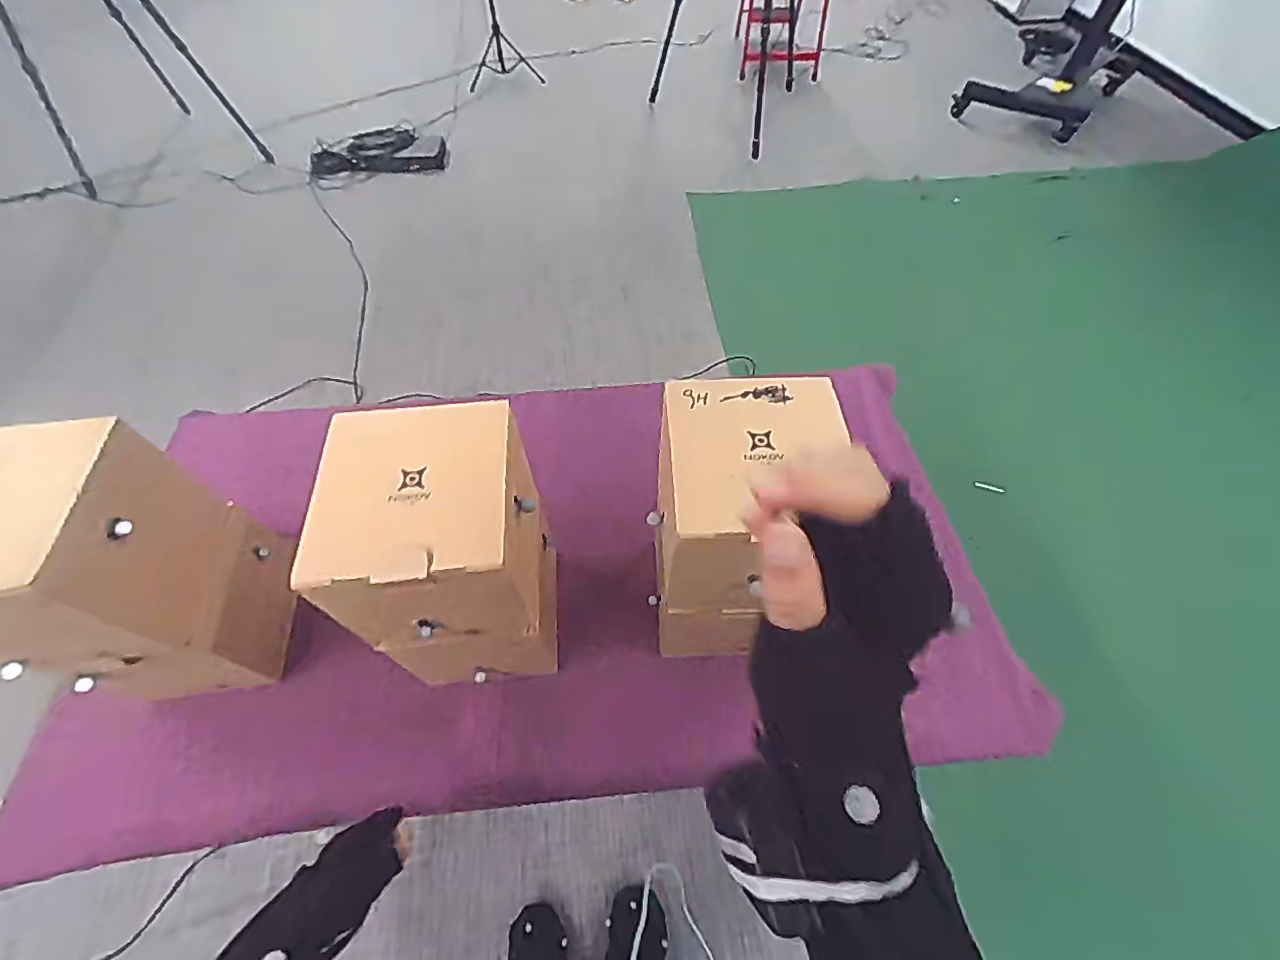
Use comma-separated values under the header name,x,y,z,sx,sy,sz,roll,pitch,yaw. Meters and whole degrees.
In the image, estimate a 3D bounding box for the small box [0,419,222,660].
name,x,y,z,sx,sy,sz,roll,pitch,yaw
small box,-0.548,0.064,0.513,0.168,0.176,0.179,-3,57,-5

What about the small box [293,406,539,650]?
name,x,y,z,sx,sy,sz,roll,pitch,yaw
small box,-0.194,0.050,0.529,0.168,0.176,0.179,-5,58,-4

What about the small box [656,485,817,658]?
name,x,y,z,sx,sy,sz,roll,pitch,yaw
small box,0.107,0.118,0.680,0.168,0.176,0.179,0,56,-1

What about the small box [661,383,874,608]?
name,x,y,z,sx,sy,sz,roll,pitch,yaw
small box,0.108,0.023,0.546,0.168,0.176,0.179,0,57,-1

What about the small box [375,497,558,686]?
name,x,y,z,sx,sy,sz,roll,pitch,yaw
small box,-0.195,0.140,0.665,0.168,0.176,0.179,-4,57,-2
